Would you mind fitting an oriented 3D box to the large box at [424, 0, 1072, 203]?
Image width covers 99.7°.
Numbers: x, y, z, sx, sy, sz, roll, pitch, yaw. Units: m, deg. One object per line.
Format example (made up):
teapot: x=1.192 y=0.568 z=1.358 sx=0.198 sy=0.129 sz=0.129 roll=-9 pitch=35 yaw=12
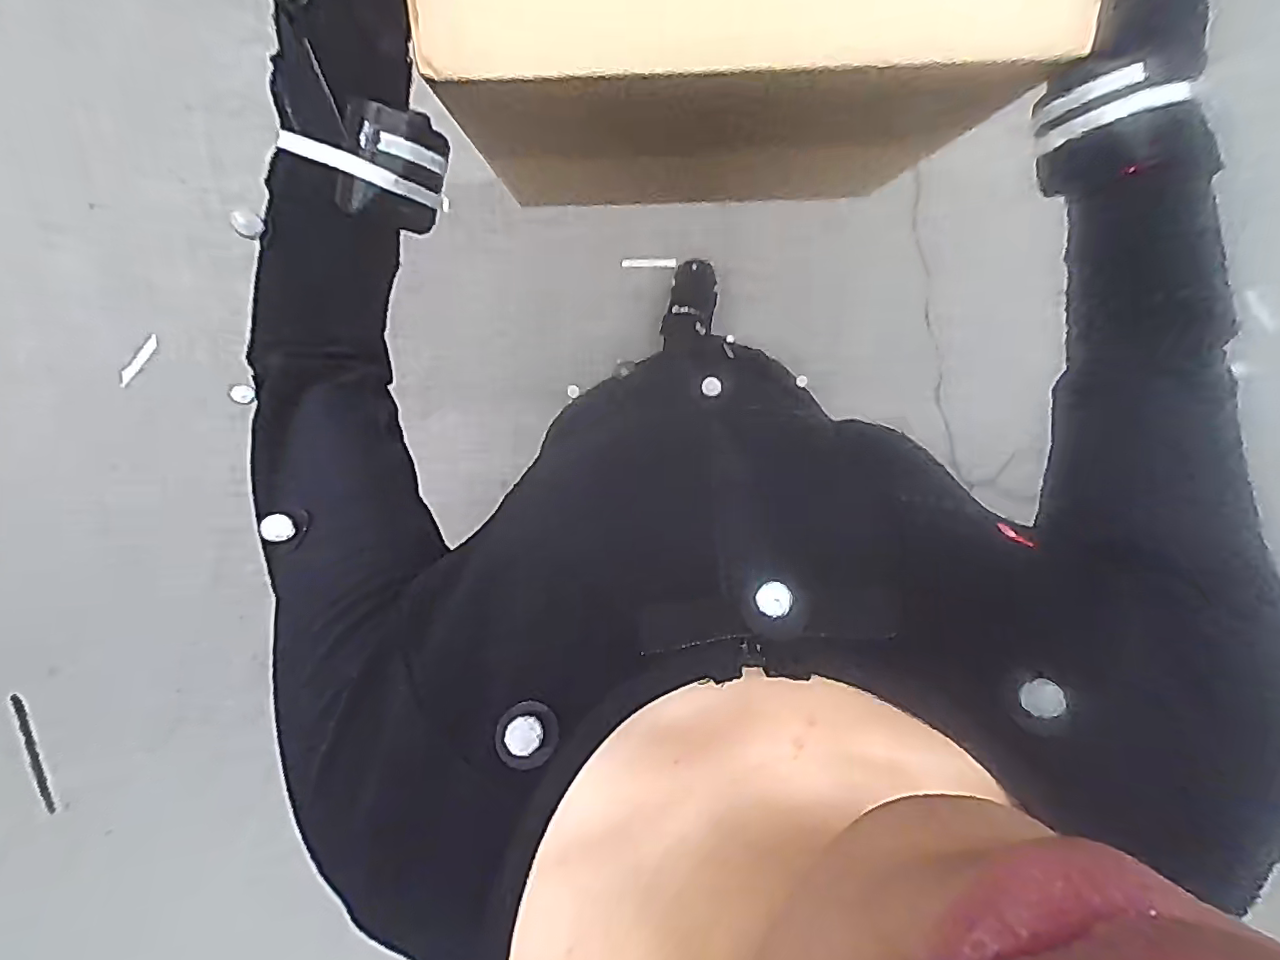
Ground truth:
large box: x=0.056 y=-0.444 z=0.446 sx=0.408 sy=0.320 sz=0.320 roll=-3 pitch=104 yaw=-1
